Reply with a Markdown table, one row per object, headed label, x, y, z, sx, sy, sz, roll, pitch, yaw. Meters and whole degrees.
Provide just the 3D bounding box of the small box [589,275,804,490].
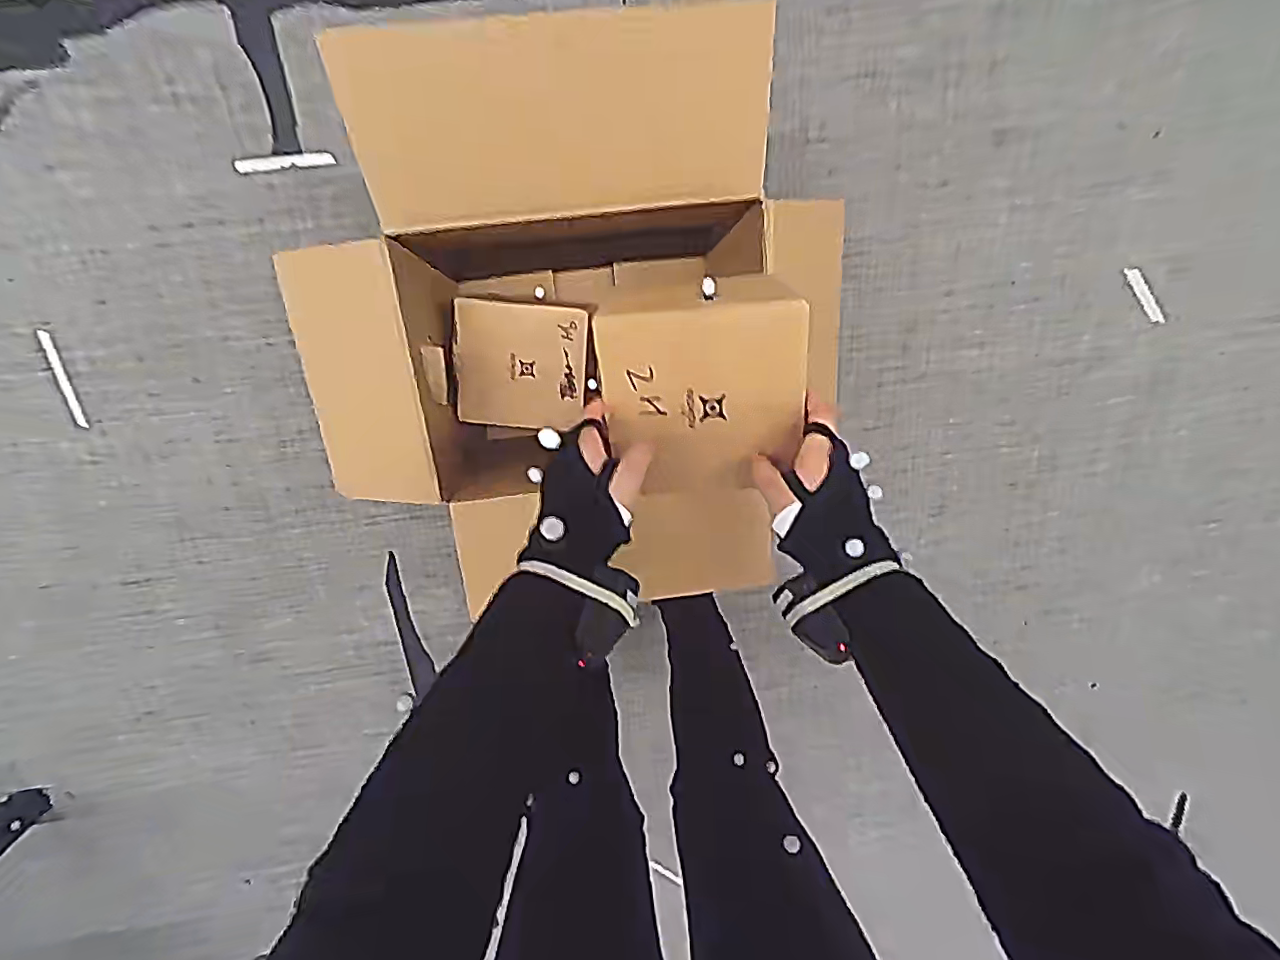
| label | x | y | z | sx | sy | sz | roll | pitch | yaw |
| --- | --- | --- | --- | --- | --- | --- | --- | --- | --- |
| small box | 0.054 | -0.104 | 0.539 | 0.179 | 0.176 | 0.168 | -3 | 117 | 6 |
